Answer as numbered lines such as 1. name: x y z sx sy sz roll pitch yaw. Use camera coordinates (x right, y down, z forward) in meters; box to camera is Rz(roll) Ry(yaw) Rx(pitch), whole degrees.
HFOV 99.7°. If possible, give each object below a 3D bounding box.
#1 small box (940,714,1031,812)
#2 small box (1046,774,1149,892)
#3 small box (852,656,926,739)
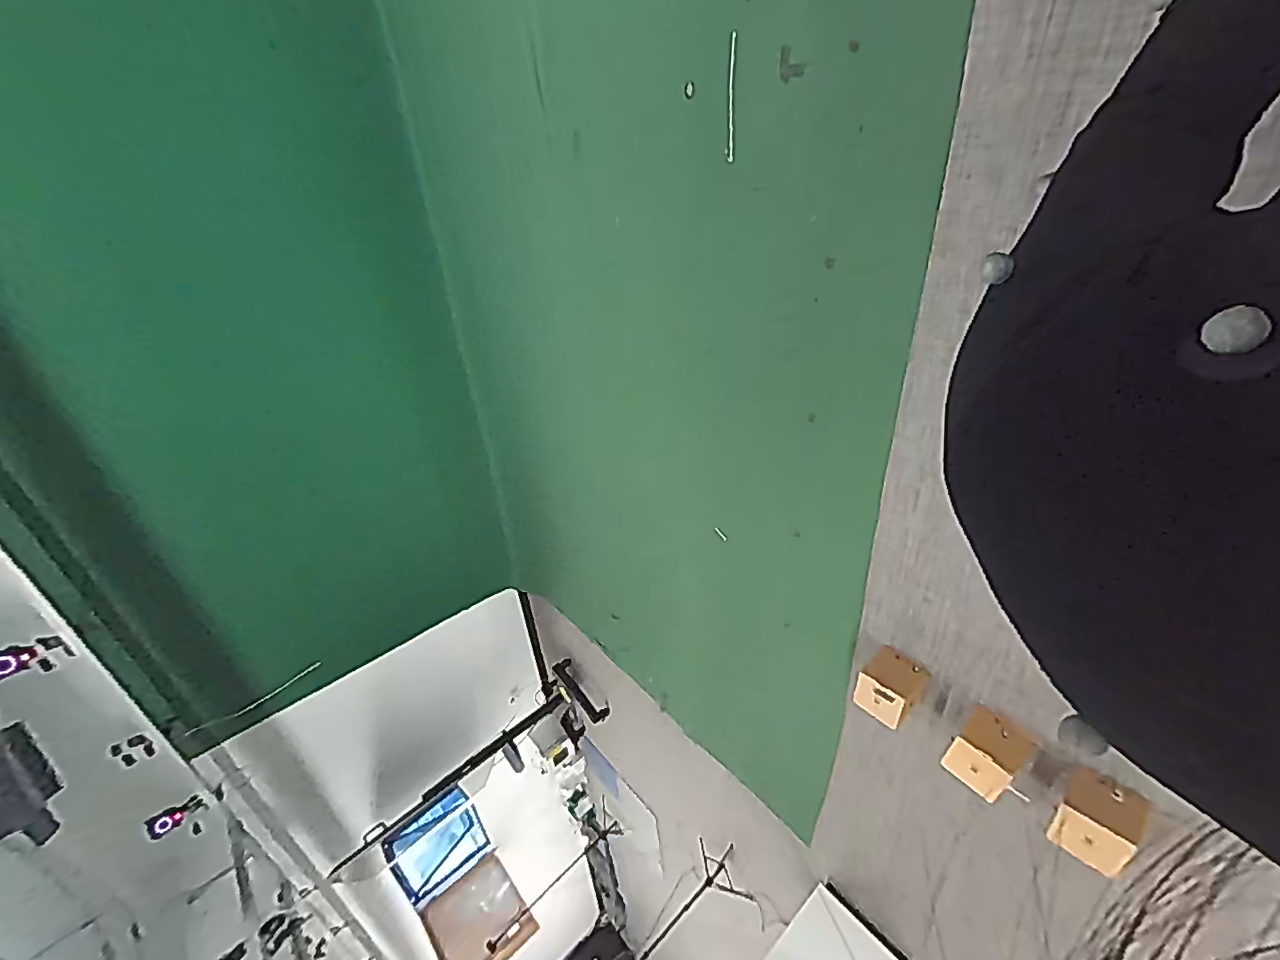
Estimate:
1. small box: 1.089 0.886 1.703 0.168 0.176 0.179 34 136 38
2. small box: 1.274 0.975 1.504 0.168 0.176 0.179 23 128 43
3. small box: 0.880 0.759 1.908 0.168 0.176 0.179 29 135 42
